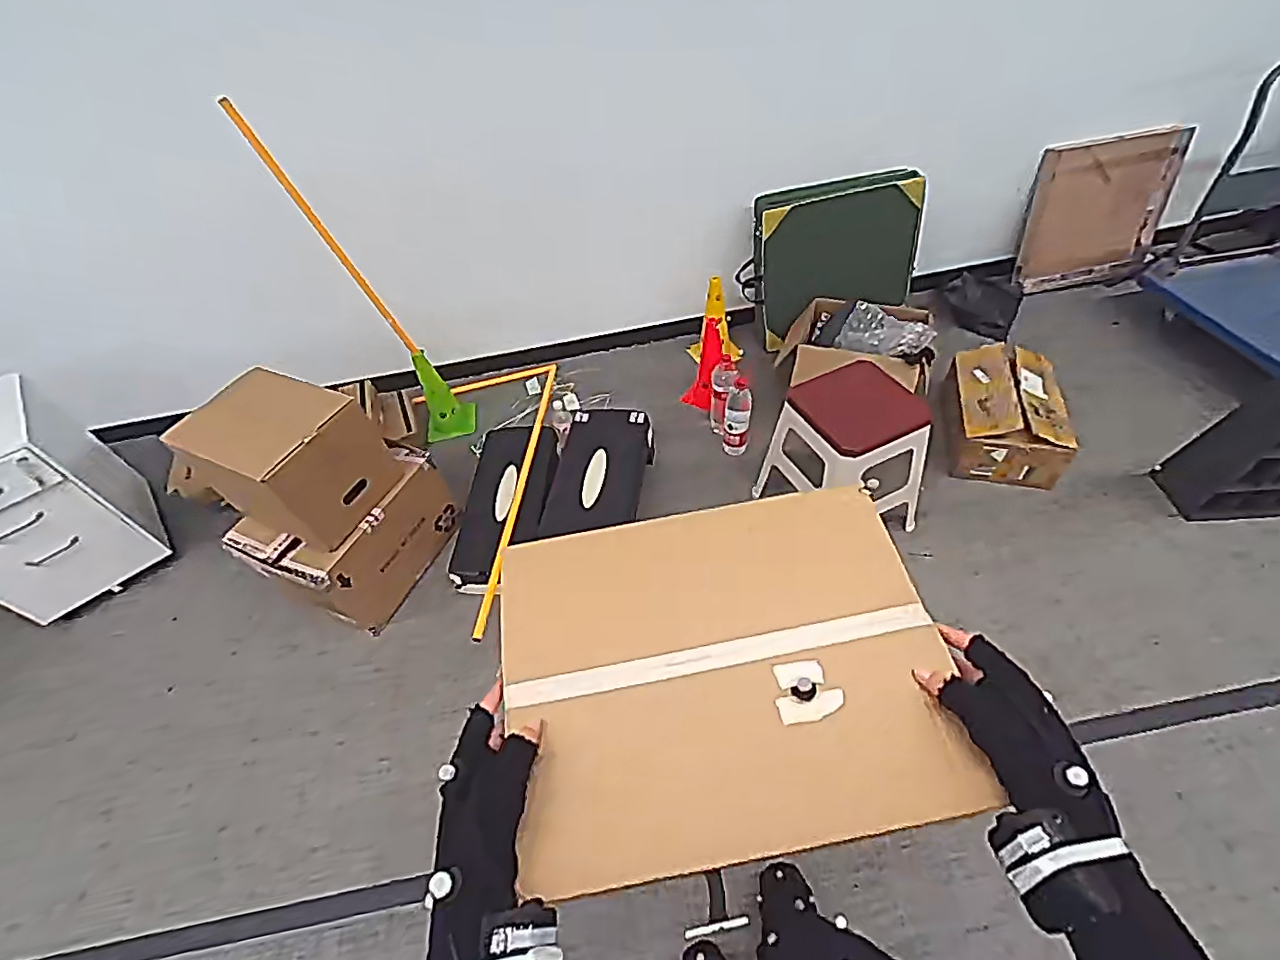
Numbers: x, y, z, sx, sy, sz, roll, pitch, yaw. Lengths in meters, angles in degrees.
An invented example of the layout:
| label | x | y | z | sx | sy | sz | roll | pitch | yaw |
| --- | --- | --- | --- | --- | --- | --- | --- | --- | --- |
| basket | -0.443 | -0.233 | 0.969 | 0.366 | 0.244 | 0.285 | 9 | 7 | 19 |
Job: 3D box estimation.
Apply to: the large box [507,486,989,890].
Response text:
| label | x | y | z | sx | sy | sz | roll | pitch | yaw |
| --- | --- | --- | --- | --- | --- | --- | --- | --- | --- |
| large box | 0.083 | 0.251 | 0.647 | 0.408 | 0.320 | 0.320 | -11 | 56 | -2 |
